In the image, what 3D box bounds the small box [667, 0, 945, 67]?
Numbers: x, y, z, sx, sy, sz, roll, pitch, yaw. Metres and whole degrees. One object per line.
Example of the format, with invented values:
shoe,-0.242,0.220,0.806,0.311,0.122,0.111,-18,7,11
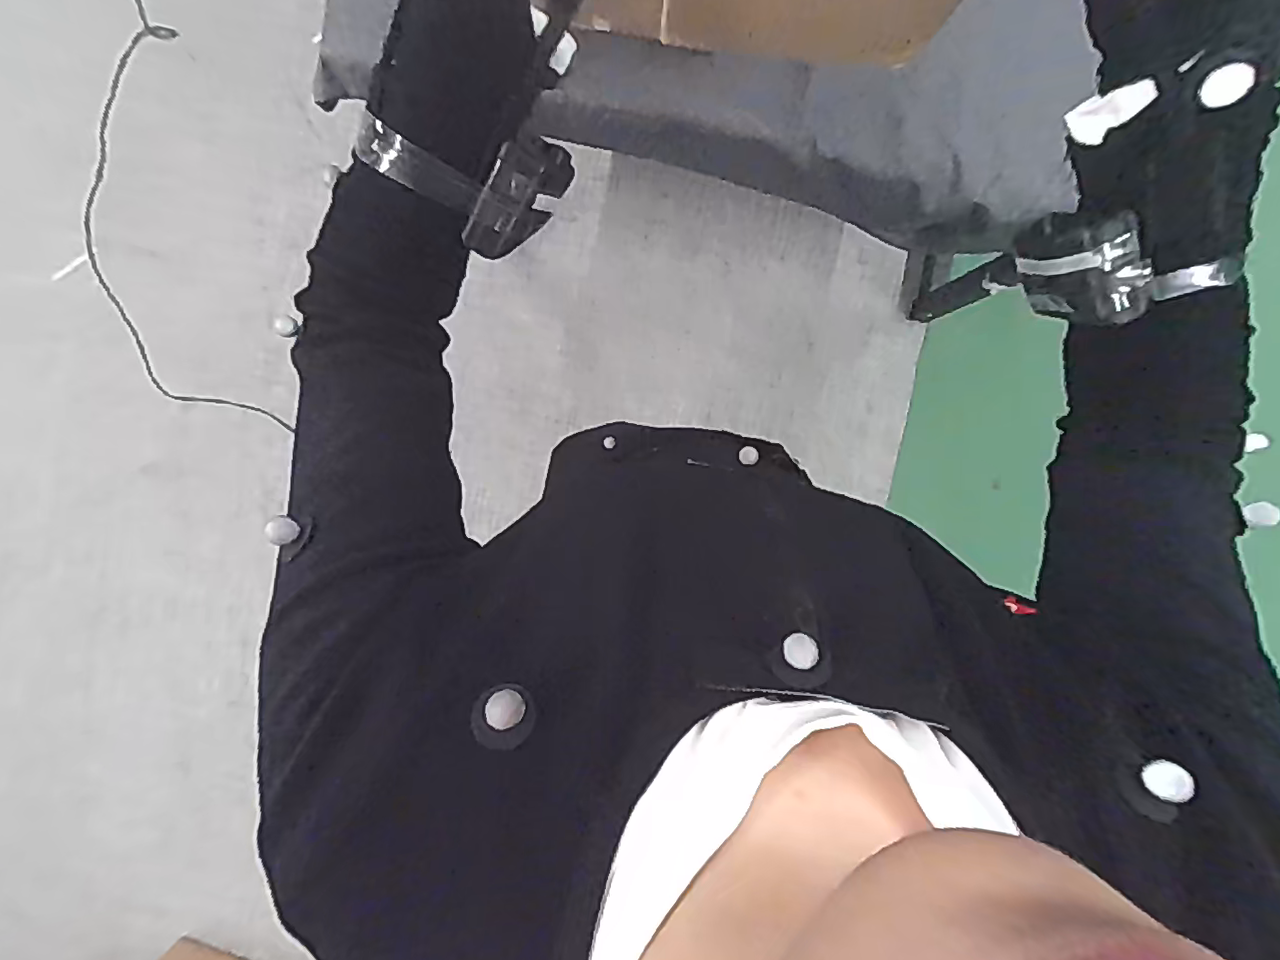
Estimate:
small box,0.112,-0.371,0.297,0.179,0.176,0.168,4,95,-4
